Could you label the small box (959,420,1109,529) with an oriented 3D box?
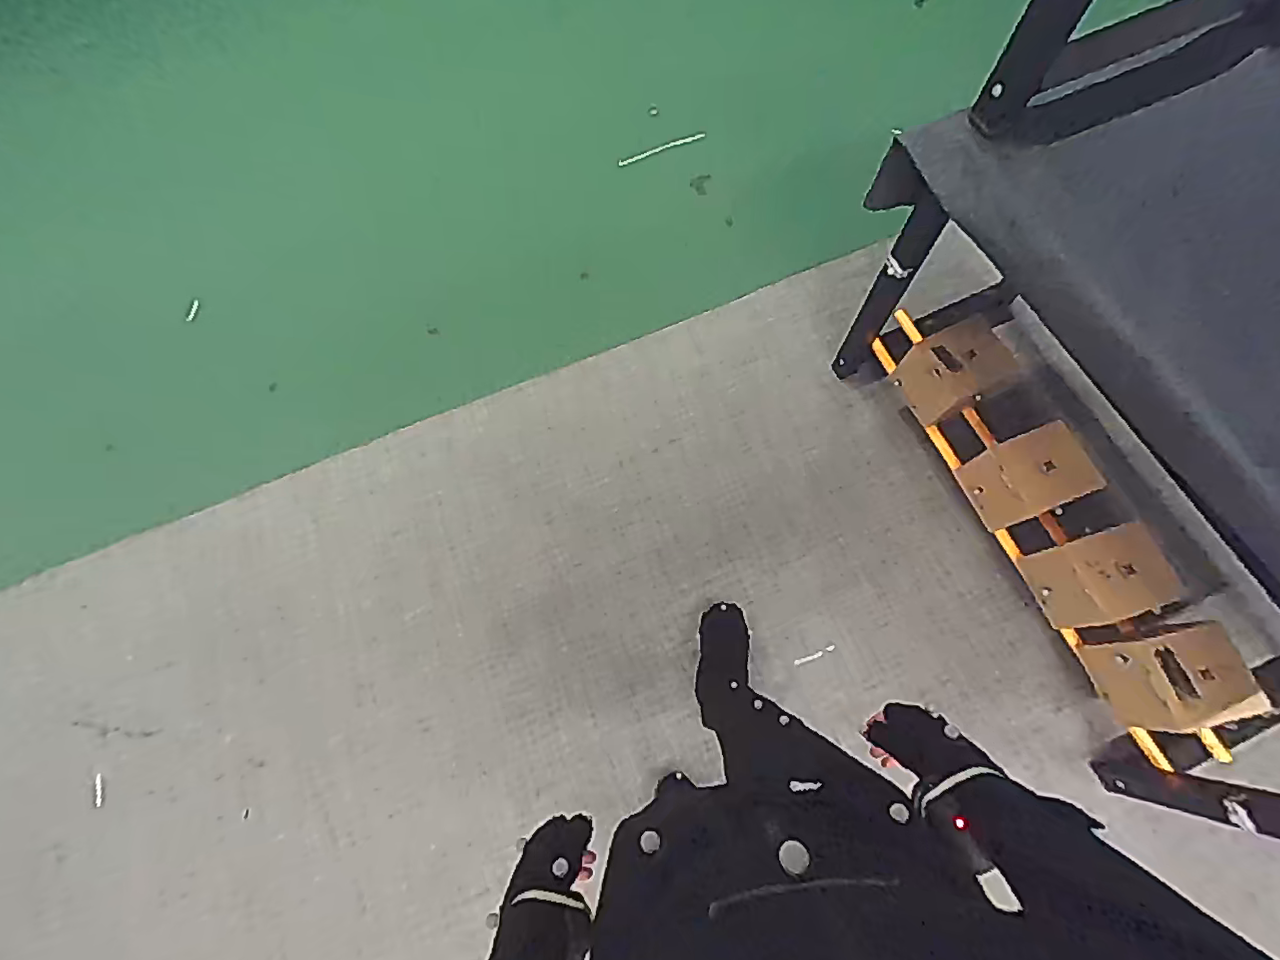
[{"bbox_3d":[0.869,-0.006,1.213,0.179,0.176,0.168,-22,72,-1],"label":"small box"}]
